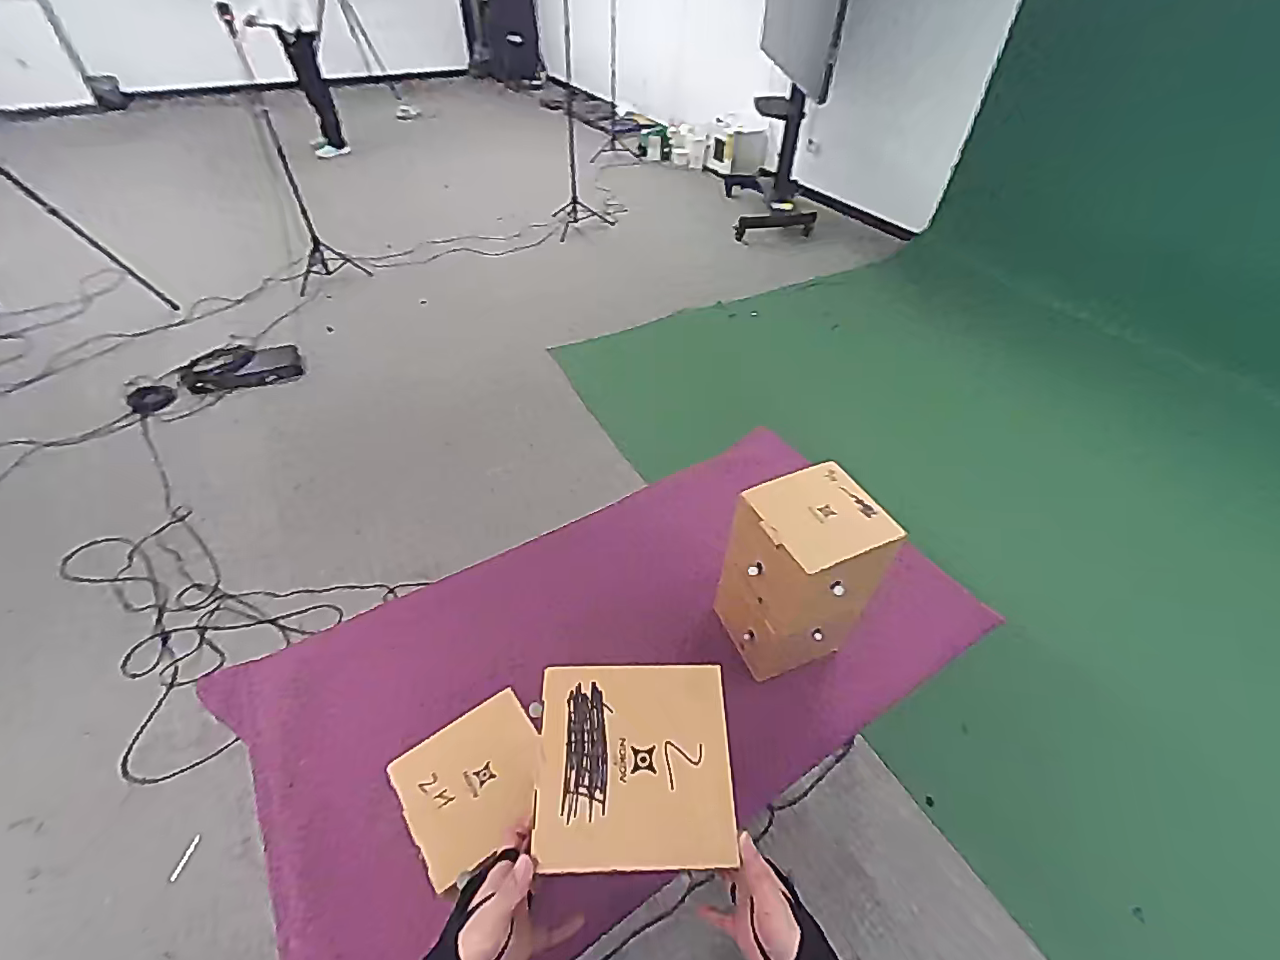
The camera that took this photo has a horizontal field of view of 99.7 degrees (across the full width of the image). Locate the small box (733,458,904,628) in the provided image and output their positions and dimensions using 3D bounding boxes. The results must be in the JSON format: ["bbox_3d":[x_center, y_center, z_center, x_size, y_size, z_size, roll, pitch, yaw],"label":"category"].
[{"bbox_3d":[0.257,0.099,0.830,0.179,0.176,0.168,-18,50,-17],"label":"small box"}]

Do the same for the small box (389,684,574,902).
[{"bbox_3d":[-0.203,0.419,0.728,0.179,0.176,0.168,-28,53,-26],"label":"small box"}]

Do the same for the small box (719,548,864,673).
[{"bbox_3d":[0.251,0.211,0.949,0.179,0.176,0.168,-14,49,-16],"label":"small box"}]
